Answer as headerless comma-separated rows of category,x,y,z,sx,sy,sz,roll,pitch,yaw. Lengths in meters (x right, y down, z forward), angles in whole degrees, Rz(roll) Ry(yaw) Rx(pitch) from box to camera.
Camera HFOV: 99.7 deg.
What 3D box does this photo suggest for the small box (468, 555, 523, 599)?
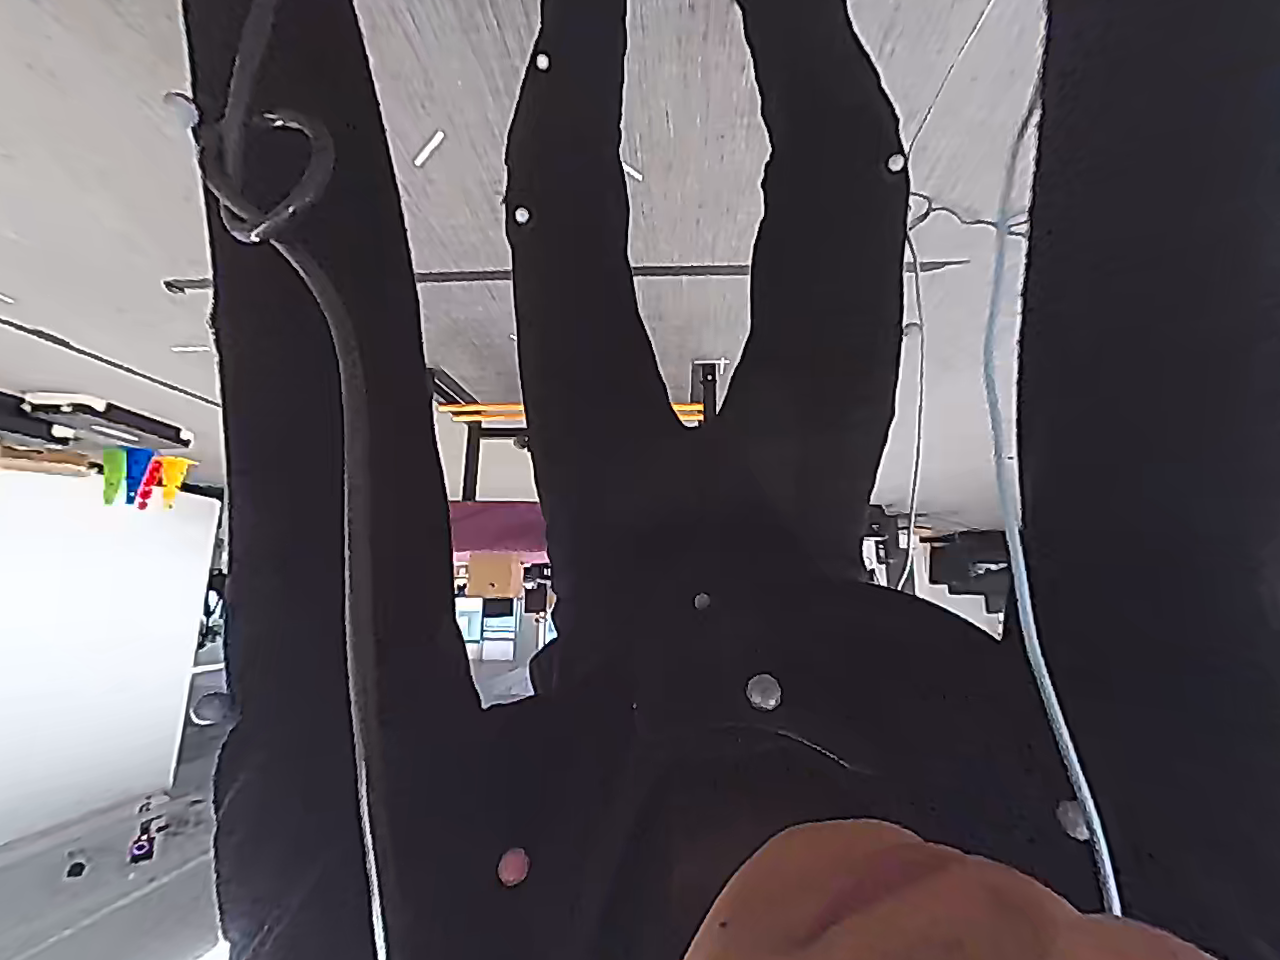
small box,-0.577,0.391,2.180,0.179,0.176,0.168,0,168,5
